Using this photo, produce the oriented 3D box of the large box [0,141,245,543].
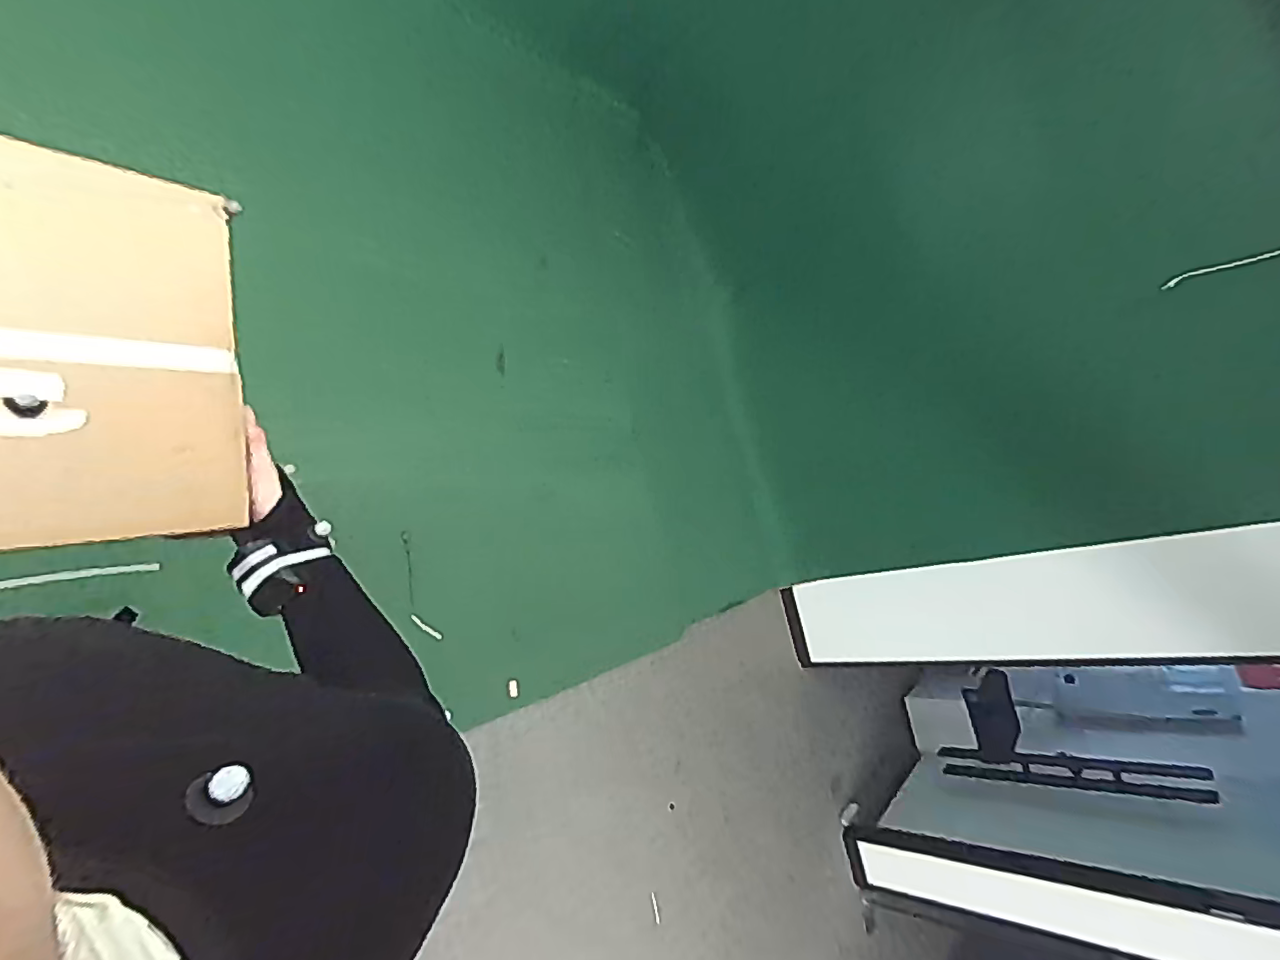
[{"bbox_3d":[-0.637,-0.099,0.467,0.408,0.320,0.320,-5,94,-50],"label":"large box"}]
